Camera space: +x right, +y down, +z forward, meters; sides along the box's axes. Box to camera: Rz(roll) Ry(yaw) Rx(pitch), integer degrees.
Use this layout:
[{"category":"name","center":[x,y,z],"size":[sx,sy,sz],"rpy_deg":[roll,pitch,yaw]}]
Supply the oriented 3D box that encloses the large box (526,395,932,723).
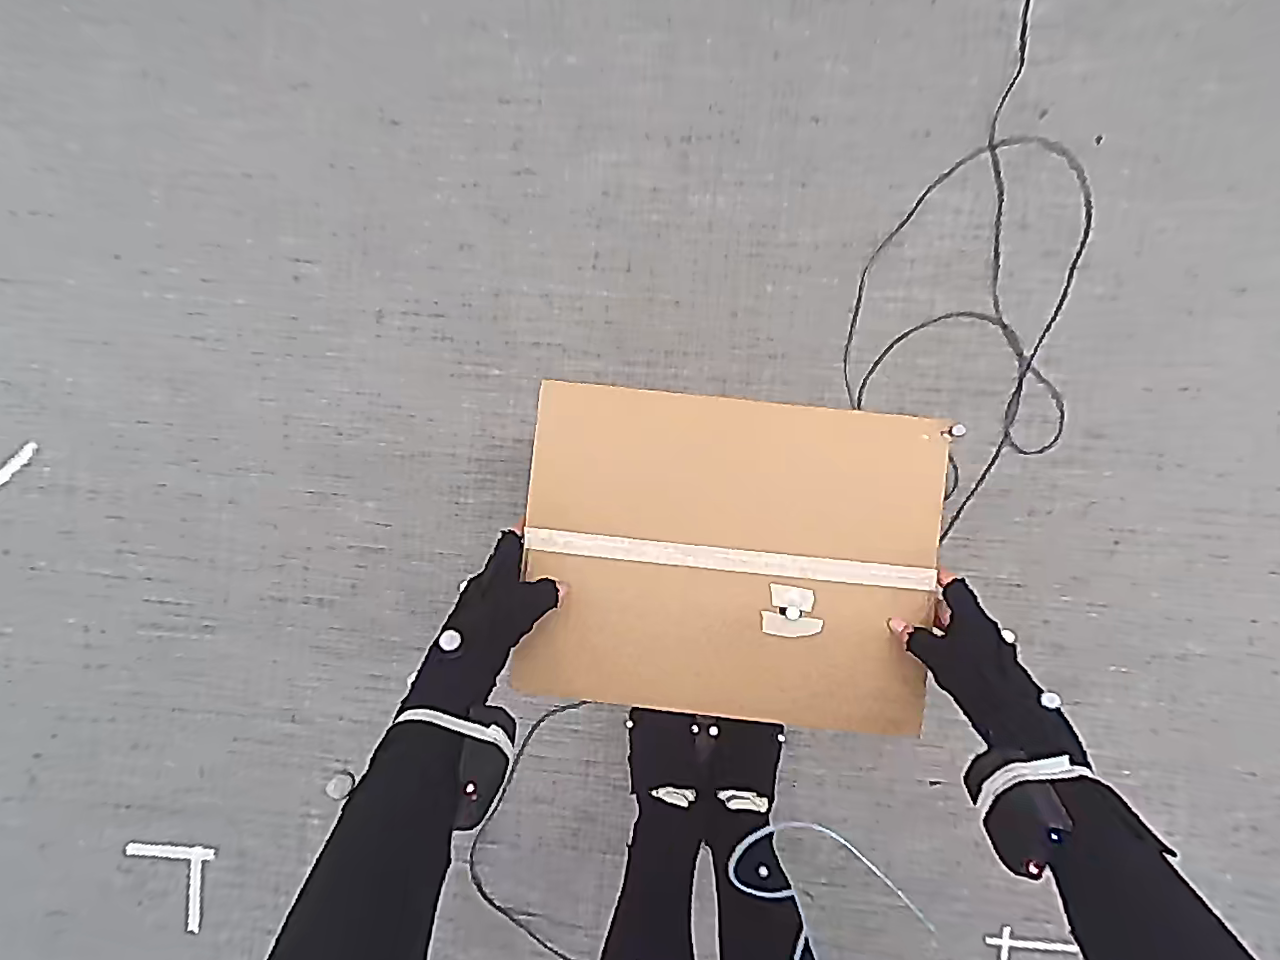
[{"category":"large box","center":[0.093,0.083,0.705],"size":[0.408,0.320,0.320],"rpy_deg":[6,90,2]}]
